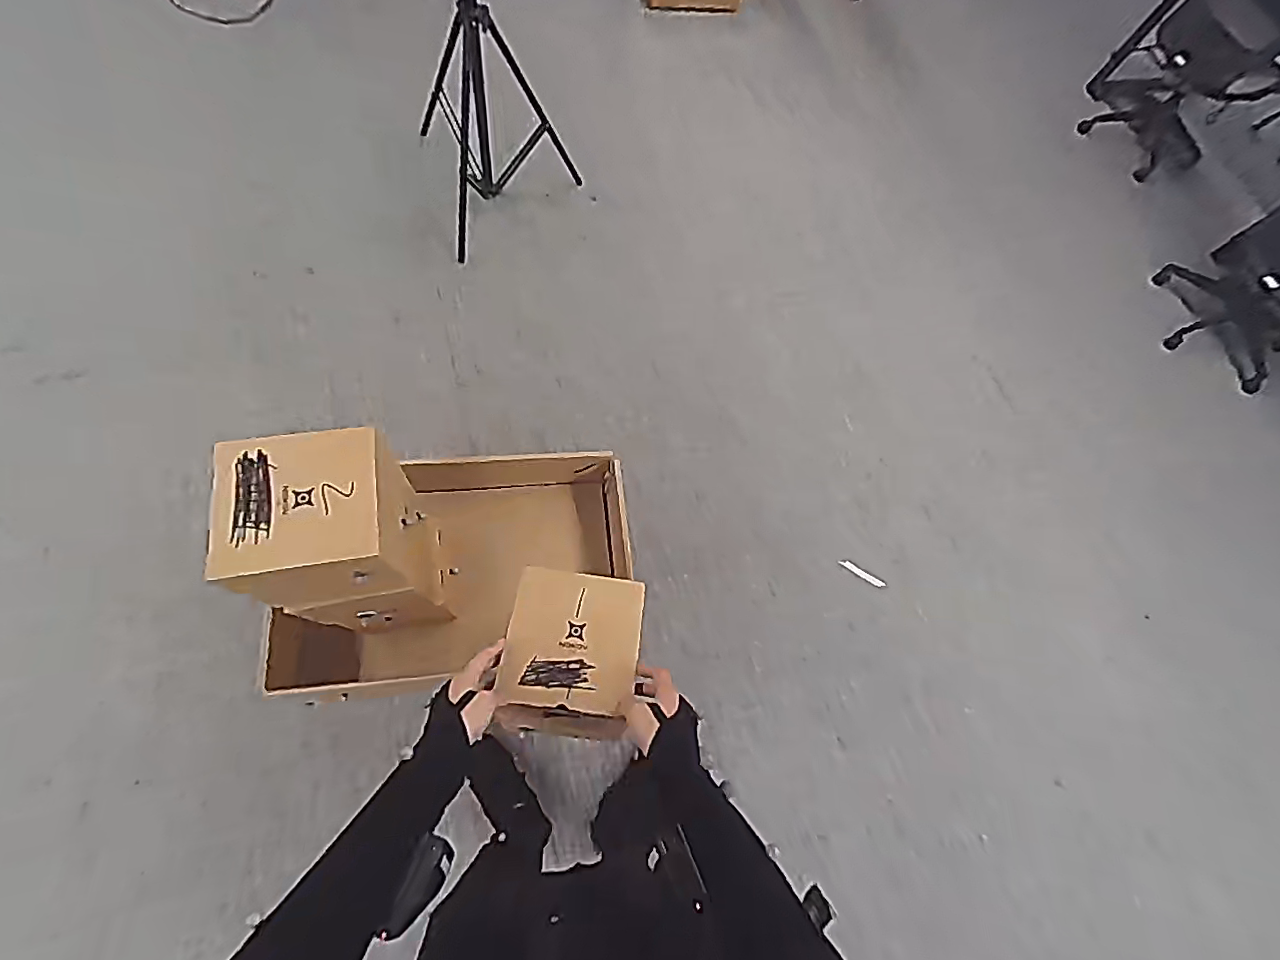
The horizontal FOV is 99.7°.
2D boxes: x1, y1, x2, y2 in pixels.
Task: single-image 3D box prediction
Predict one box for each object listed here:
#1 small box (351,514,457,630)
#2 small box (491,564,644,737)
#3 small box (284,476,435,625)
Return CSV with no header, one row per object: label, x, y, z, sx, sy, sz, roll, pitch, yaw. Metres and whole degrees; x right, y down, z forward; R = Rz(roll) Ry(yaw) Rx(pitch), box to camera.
small box,-0.441,0.172,0.988,0.179,0.176,0.168,-6,71,-14
small box,-0.092,0.239,0.737,0.168,0.176,0.179,9,55,-2
small box,-0.423,0.113,0.836,0.168,0.176,0.179,-9,70,-13
